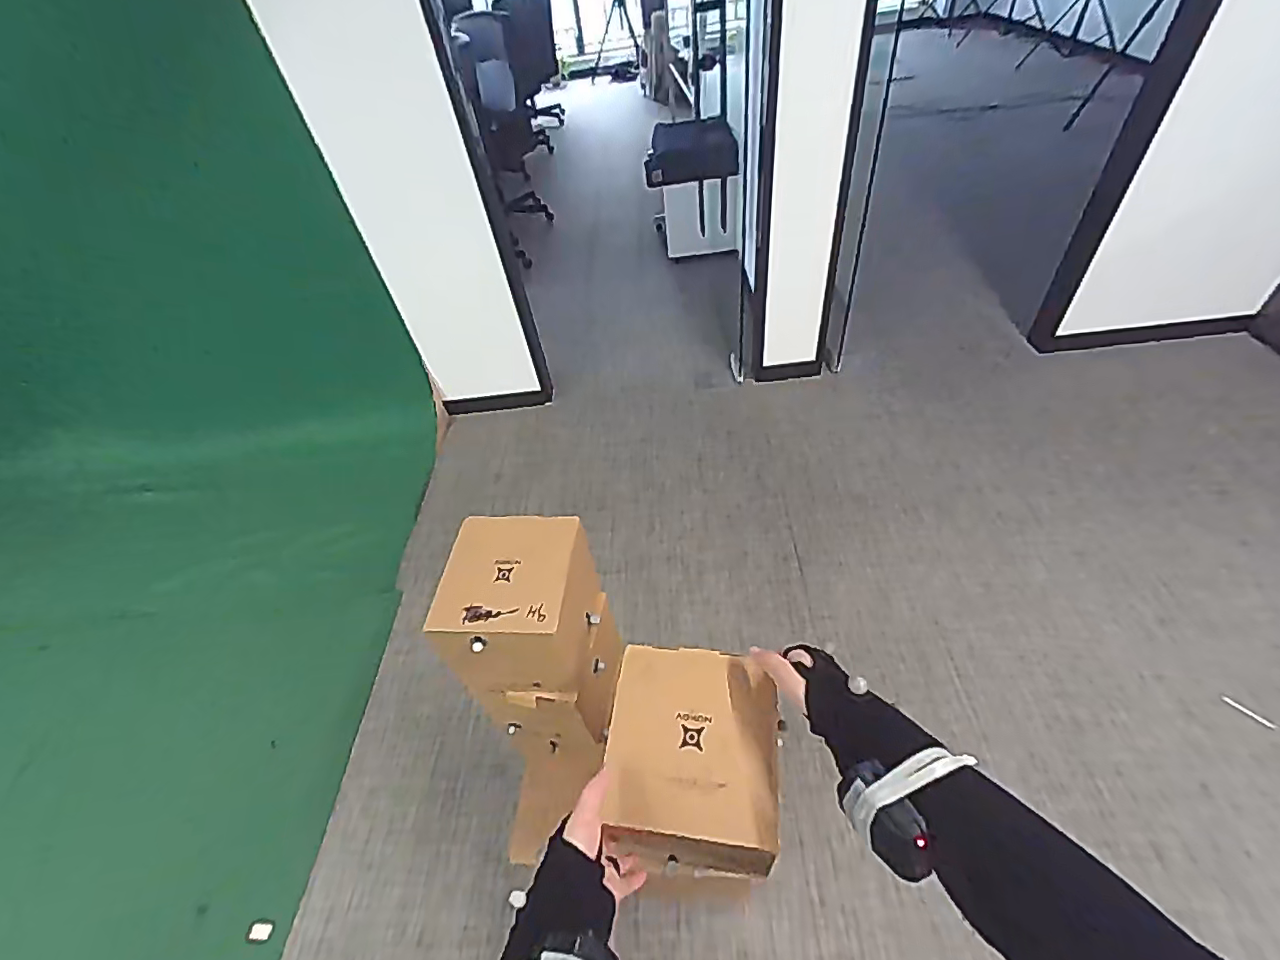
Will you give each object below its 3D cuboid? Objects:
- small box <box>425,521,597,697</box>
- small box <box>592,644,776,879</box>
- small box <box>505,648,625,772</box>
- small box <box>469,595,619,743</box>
[{"bbox_3d":[-0.160,0.175,0.743,0.168,0.176,0.179,-1,46,9],"label":"small box"},{"bbox_3d":[0.058,0.303,0.587,0.168,0.176,0.179,2,48,11],"label":"small box"},{"bbox_3d":[-0.114,0.407,0.972,0.179,0.176,0.168,3,48,11],"label":"small box"},{"bbox_3d":[-0.137,0.293,0.856,0.168,0.176,0.179,4,46,13],"label":"small box"}]
